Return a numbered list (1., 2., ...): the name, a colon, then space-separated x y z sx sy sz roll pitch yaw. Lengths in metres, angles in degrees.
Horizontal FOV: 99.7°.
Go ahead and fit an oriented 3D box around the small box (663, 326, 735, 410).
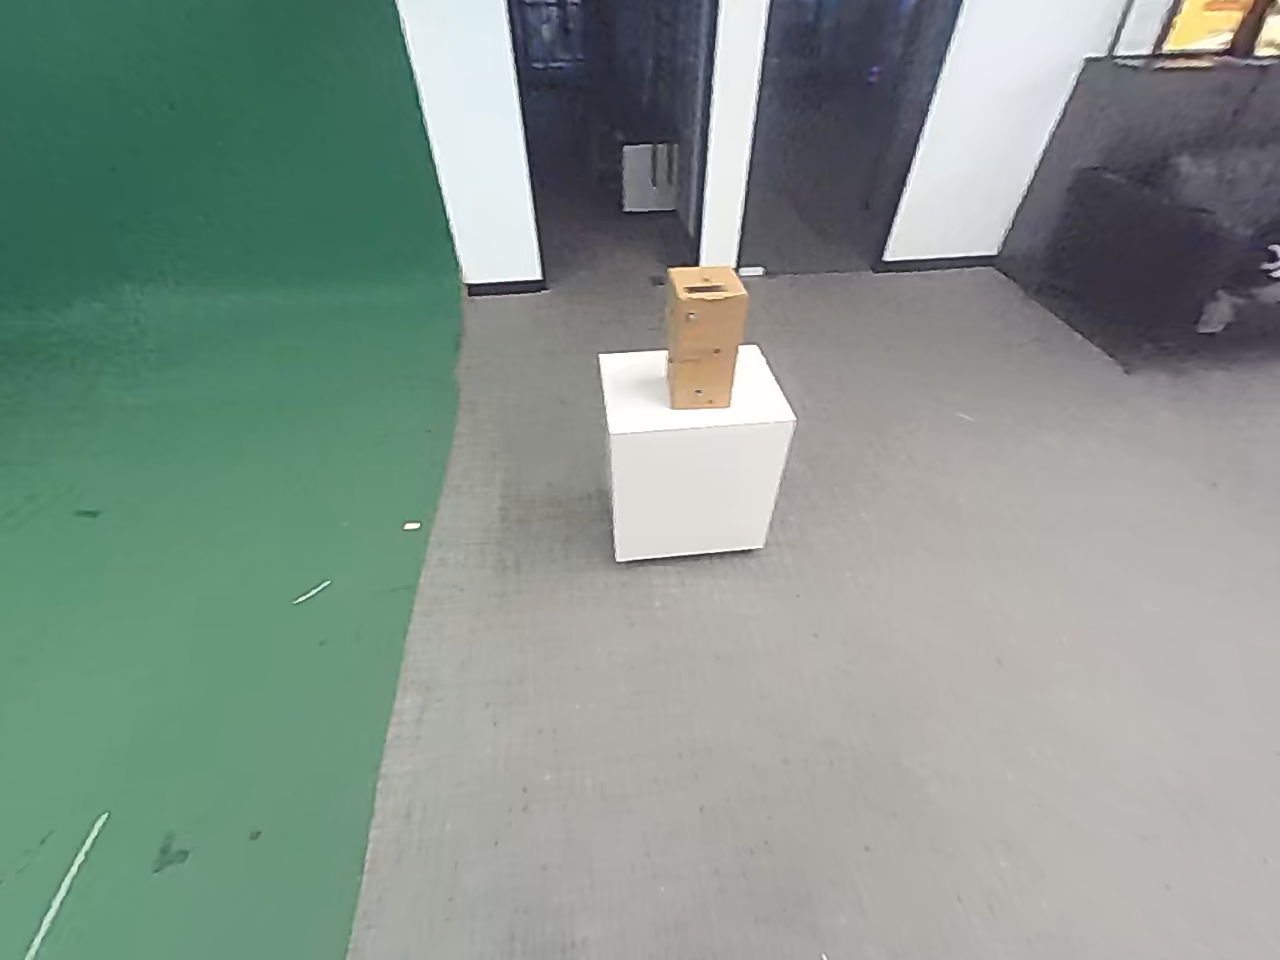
1. small box: 0.156 -0.312 1.501 0.168 0.176 0.179 -3 43 -4
